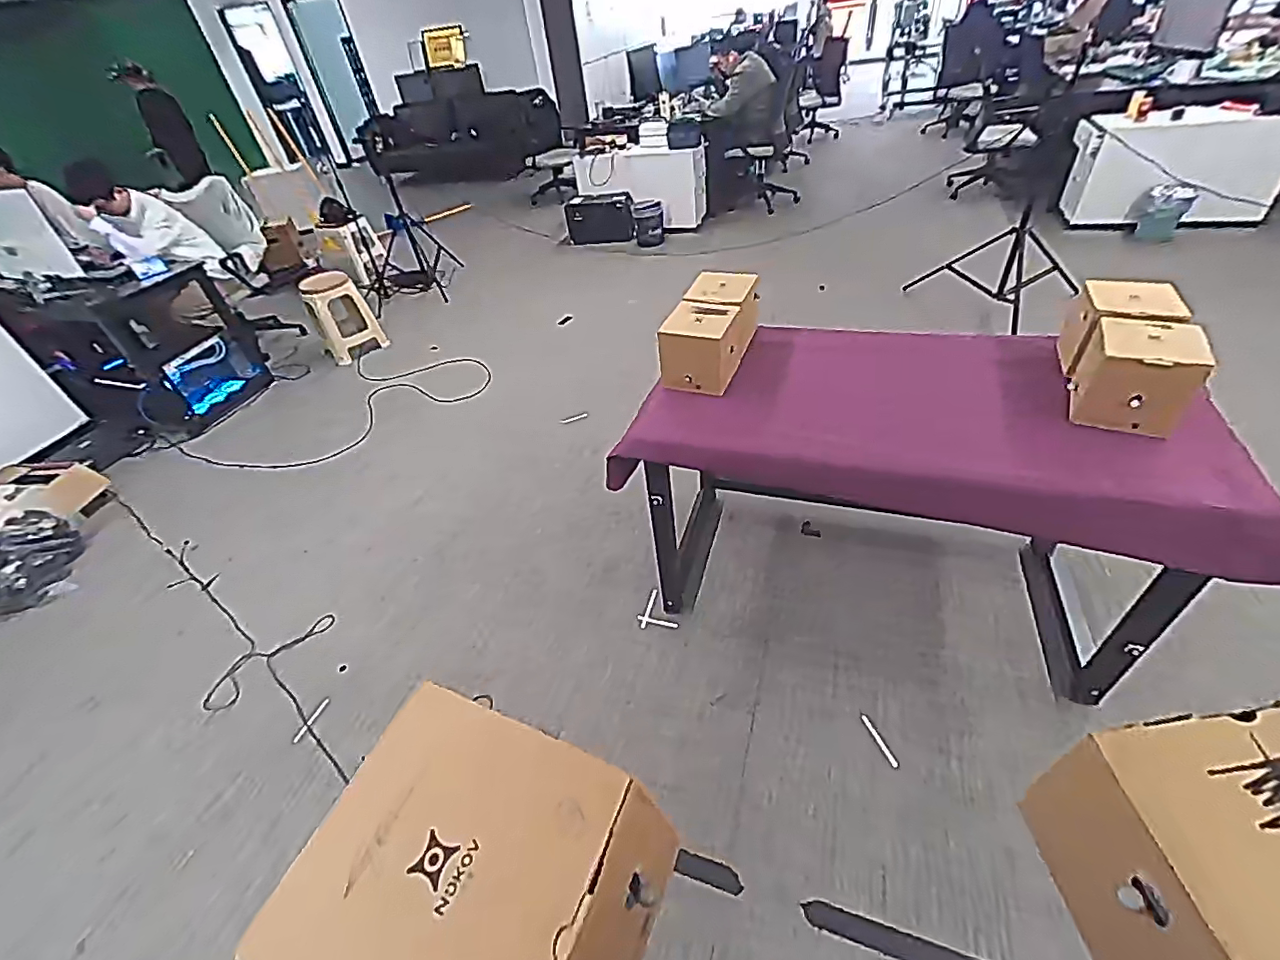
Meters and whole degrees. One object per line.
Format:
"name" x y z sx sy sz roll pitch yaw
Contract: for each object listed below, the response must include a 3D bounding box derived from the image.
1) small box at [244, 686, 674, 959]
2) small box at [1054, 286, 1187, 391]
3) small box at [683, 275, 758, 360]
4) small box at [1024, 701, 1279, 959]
"small box" -0.092 0.272 0.360 0.179 0.176 0.168 10 49 26
"small box" 1.092 -0.329 1.249 0.168 0.176 0.179 12 44 20
"small box" 0.230 -0.463 1.537 0.168 0.176 0.179 12 46 21
"small box" 0.366 0.248 0.309 0.168 0.176 0.179 -13 46 6
